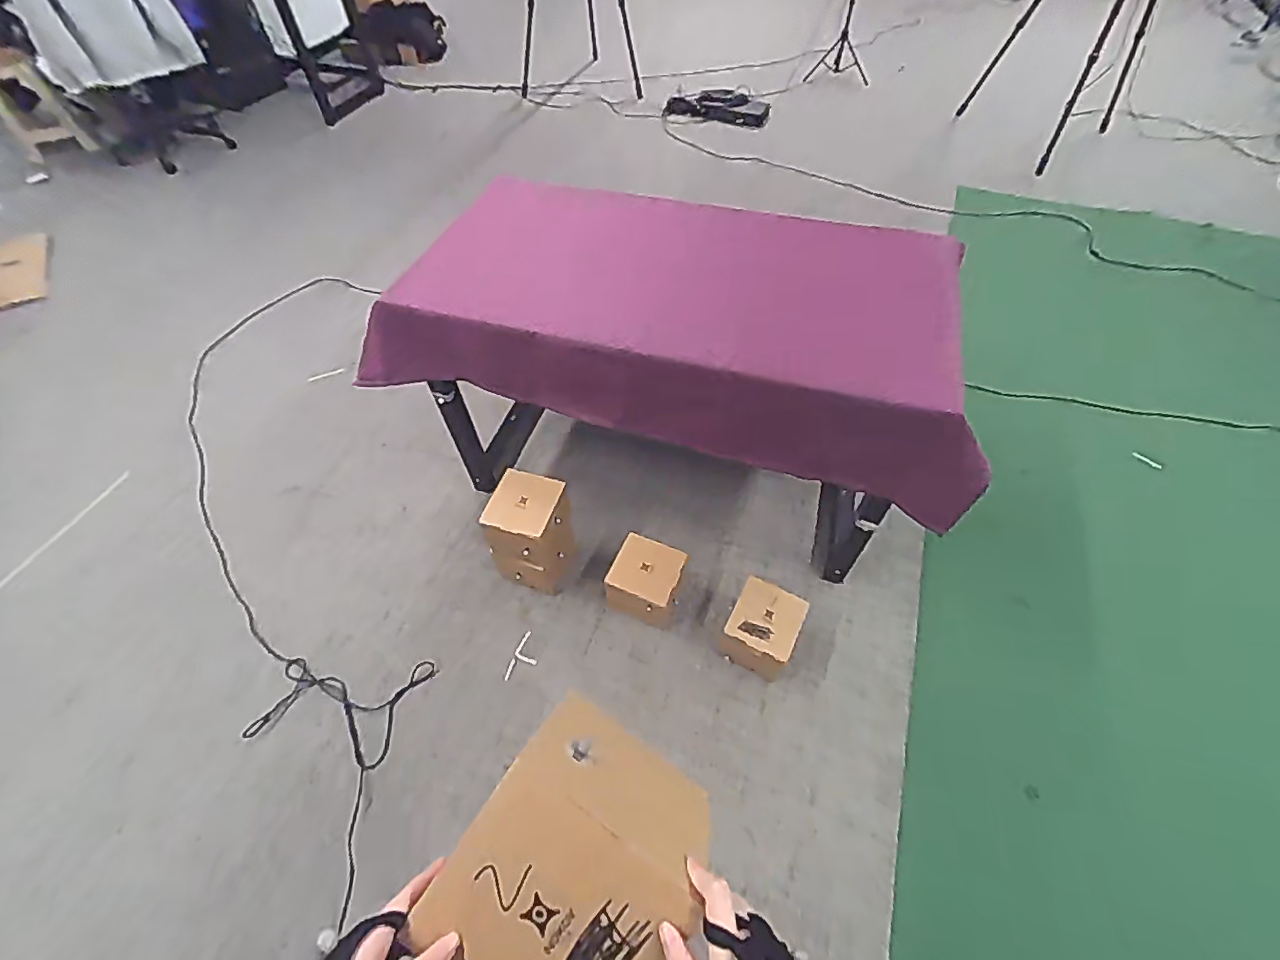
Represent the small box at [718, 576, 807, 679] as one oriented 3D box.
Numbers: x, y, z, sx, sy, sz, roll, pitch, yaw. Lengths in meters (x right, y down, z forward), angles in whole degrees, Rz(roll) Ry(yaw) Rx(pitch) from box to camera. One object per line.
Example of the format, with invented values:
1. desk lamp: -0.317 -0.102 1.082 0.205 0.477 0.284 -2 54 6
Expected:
1. small box: 0.311 0.388 1.406 0.168 0.176 0.179 24 57 17
